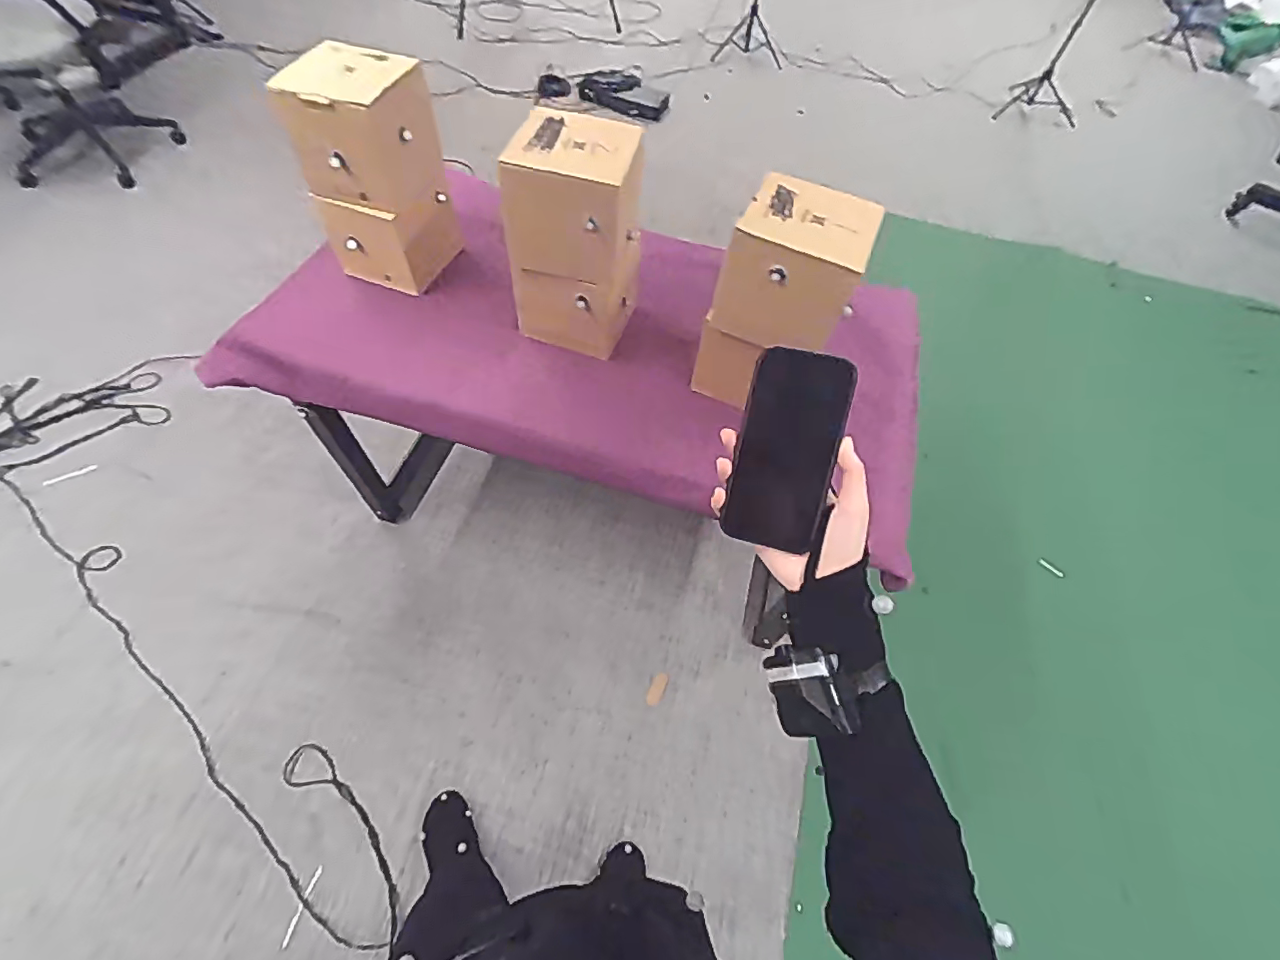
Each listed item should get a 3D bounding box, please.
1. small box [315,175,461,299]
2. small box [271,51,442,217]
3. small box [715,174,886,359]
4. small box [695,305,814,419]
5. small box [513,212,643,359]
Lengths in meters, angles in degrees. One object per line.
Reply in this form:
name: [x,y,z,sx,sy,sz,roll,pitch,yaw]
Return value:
small box: [-0.469,-0.480,1.043,0.168,0.176,0.179,18,58,7]
small box: [-0.456,-0.575,0.909,0.168,0.176,0.179,14,58,4]
small box: [0.225,-0.306,0.790,0.179,0.176,0.168,23,58,10]
small box: [0.211,-0.232,0.936,0.179,0.176,0.168,23,58,11]
small box: [-0.107,-0.347,0.983,0.179,0.176,0.168,18,58,7]
